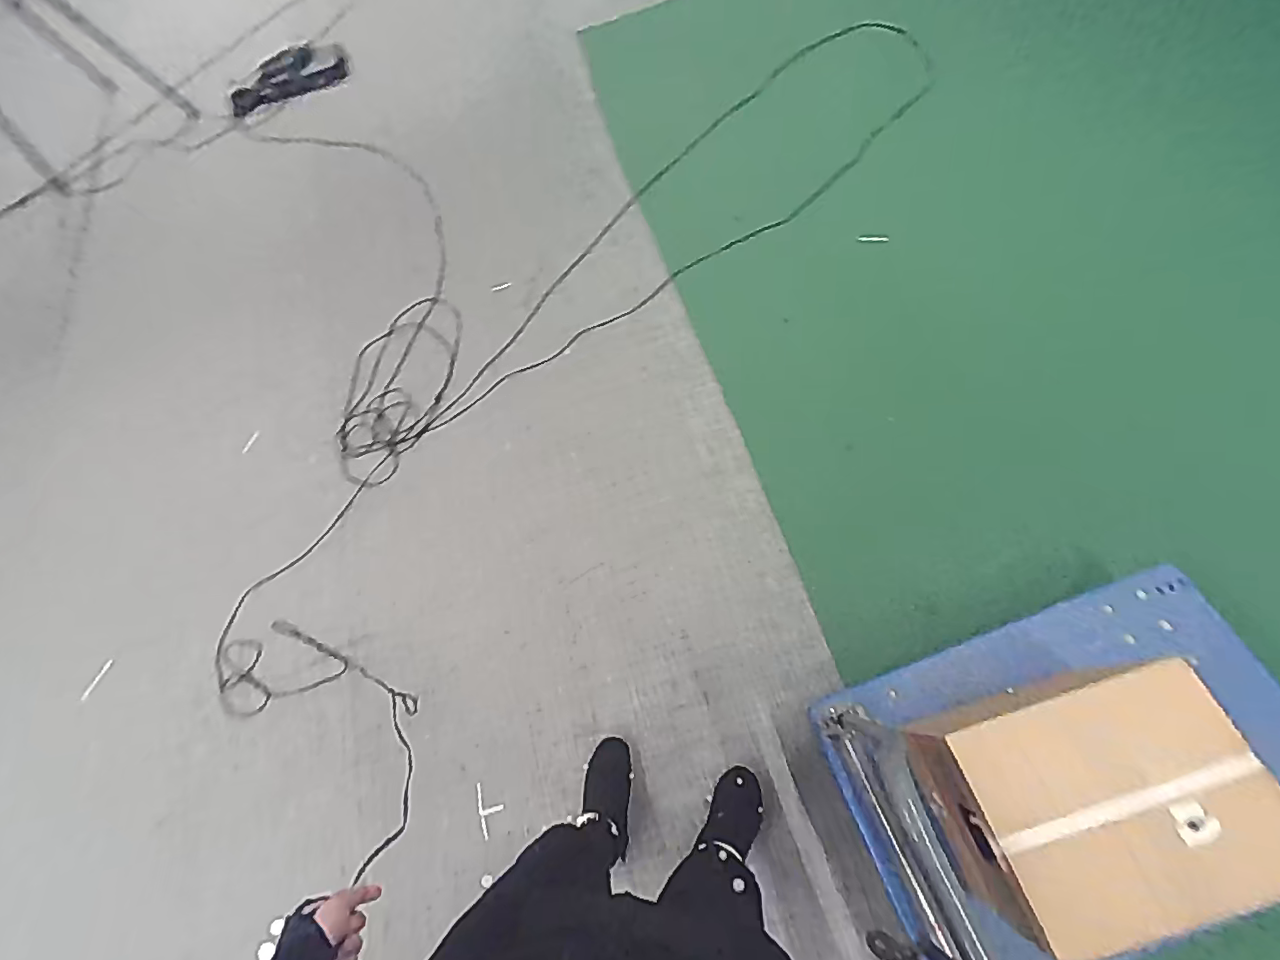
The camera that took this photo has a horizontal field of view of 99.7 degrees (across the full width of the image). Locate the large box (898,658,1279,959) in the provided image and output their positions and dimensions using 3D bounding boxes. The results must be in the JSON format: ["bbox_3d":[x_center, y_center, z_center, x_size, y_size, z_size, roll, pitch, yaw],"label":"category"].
[{"bbox_3d":[0.746,0.540,0.940,0.408,0.320,0.320,-19,66,1],"label":"large box"}]
